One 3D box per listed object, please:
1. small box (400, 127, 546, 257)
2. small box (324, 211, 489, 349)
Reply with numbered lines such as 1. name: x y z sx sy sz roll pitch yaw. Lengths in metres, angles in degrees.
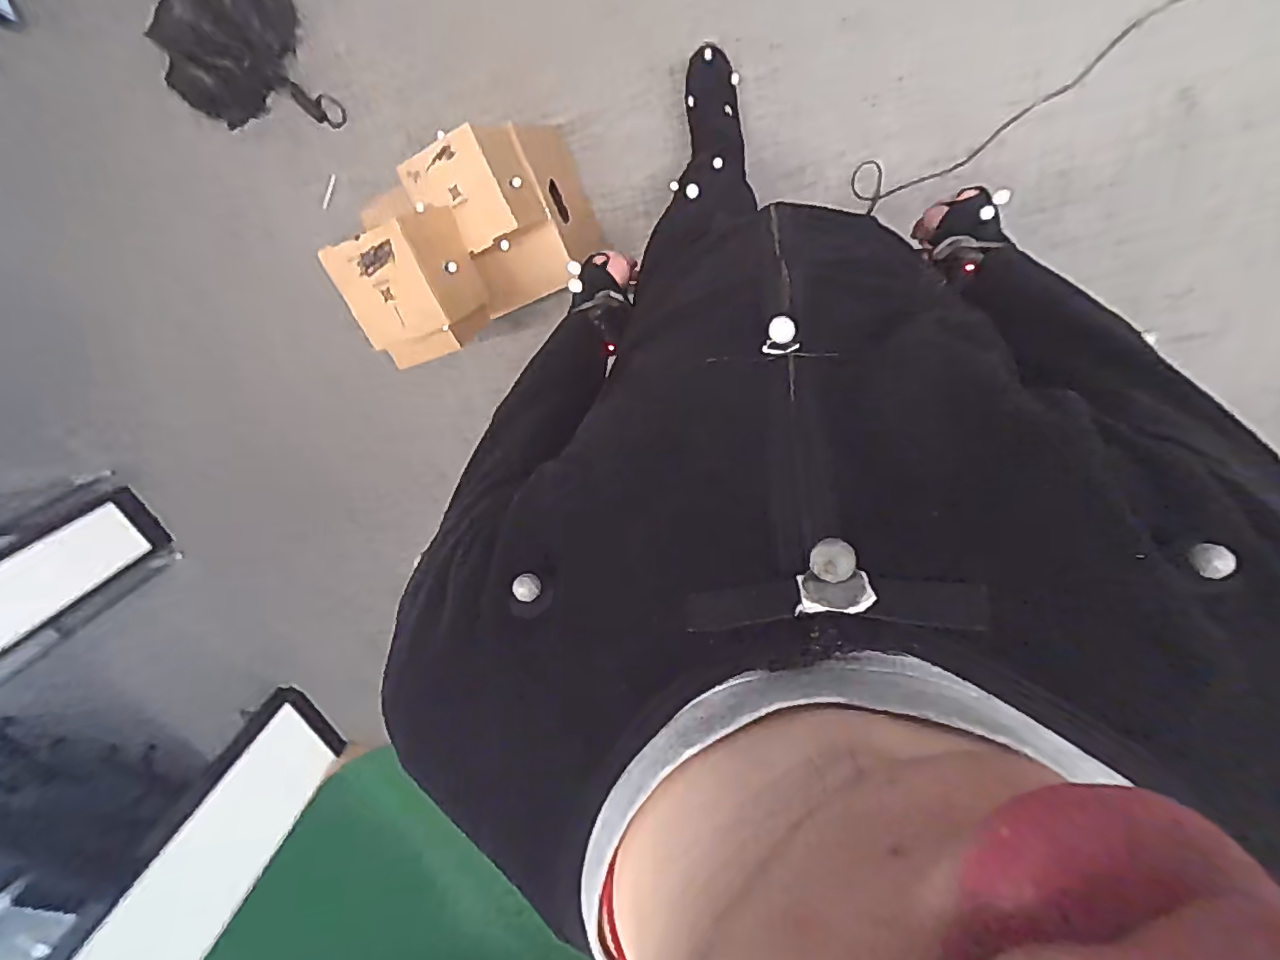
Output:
1. small box: -0.303 -0.539 1.025 0.168 0.176 0.179 -17 116 21
2. small box: -0.402 -0.361 0.961 0.168 0.176 0.179 -11 120 19
